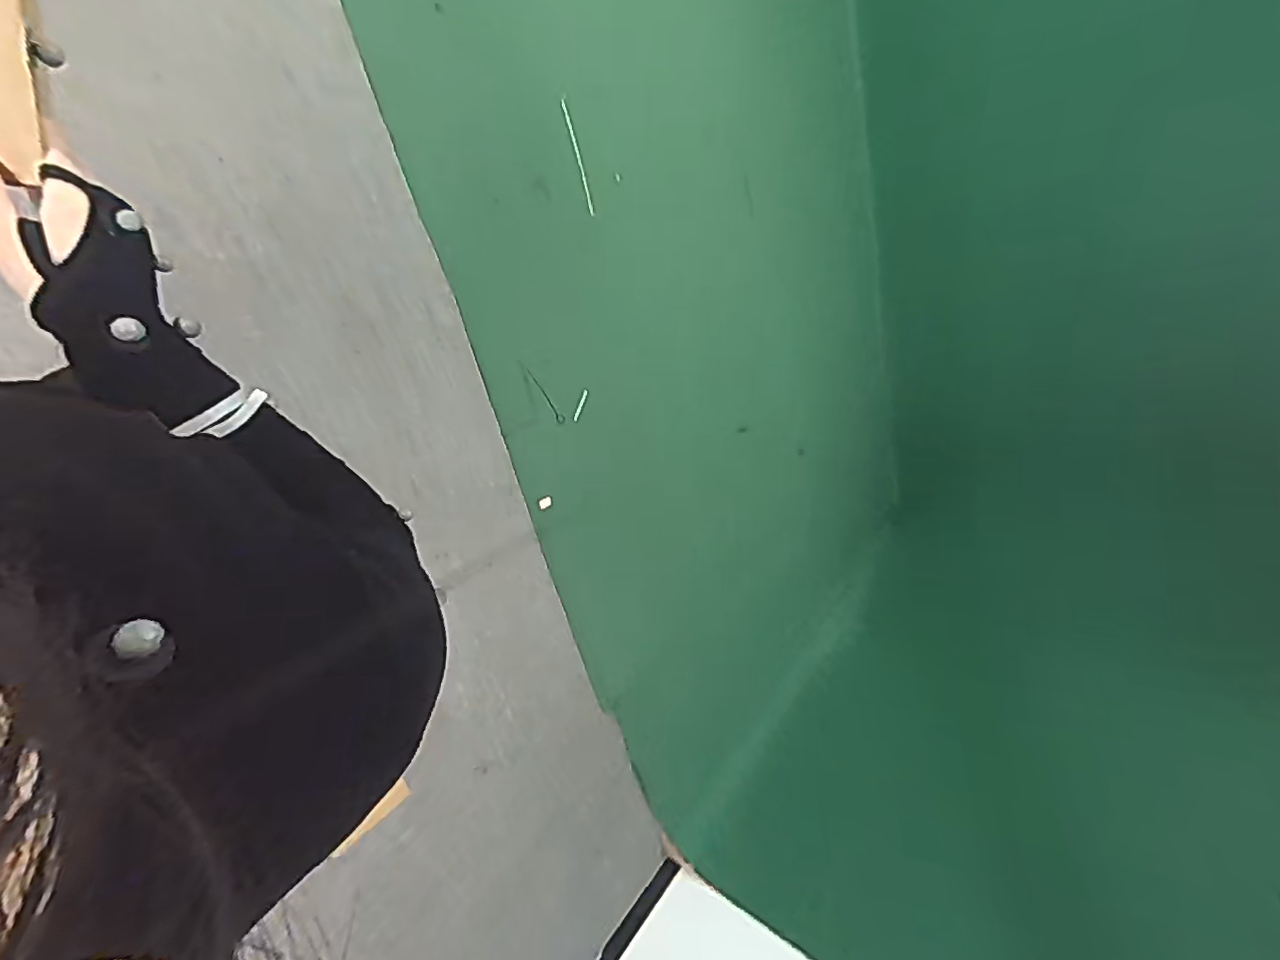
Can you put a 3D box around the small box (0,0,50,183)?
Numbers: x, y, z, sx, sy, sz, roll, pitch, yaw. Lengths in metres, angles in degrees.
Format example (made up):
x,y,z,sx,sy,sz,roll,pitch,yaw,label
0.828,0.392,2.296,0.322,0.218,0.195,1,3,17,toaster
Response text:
x,y,z,sx,sy,sz,roll,pitch,yaw,label
-0.459,-0.290,0.296,0.168,0.176,0.179,-7,122,-43,small box
